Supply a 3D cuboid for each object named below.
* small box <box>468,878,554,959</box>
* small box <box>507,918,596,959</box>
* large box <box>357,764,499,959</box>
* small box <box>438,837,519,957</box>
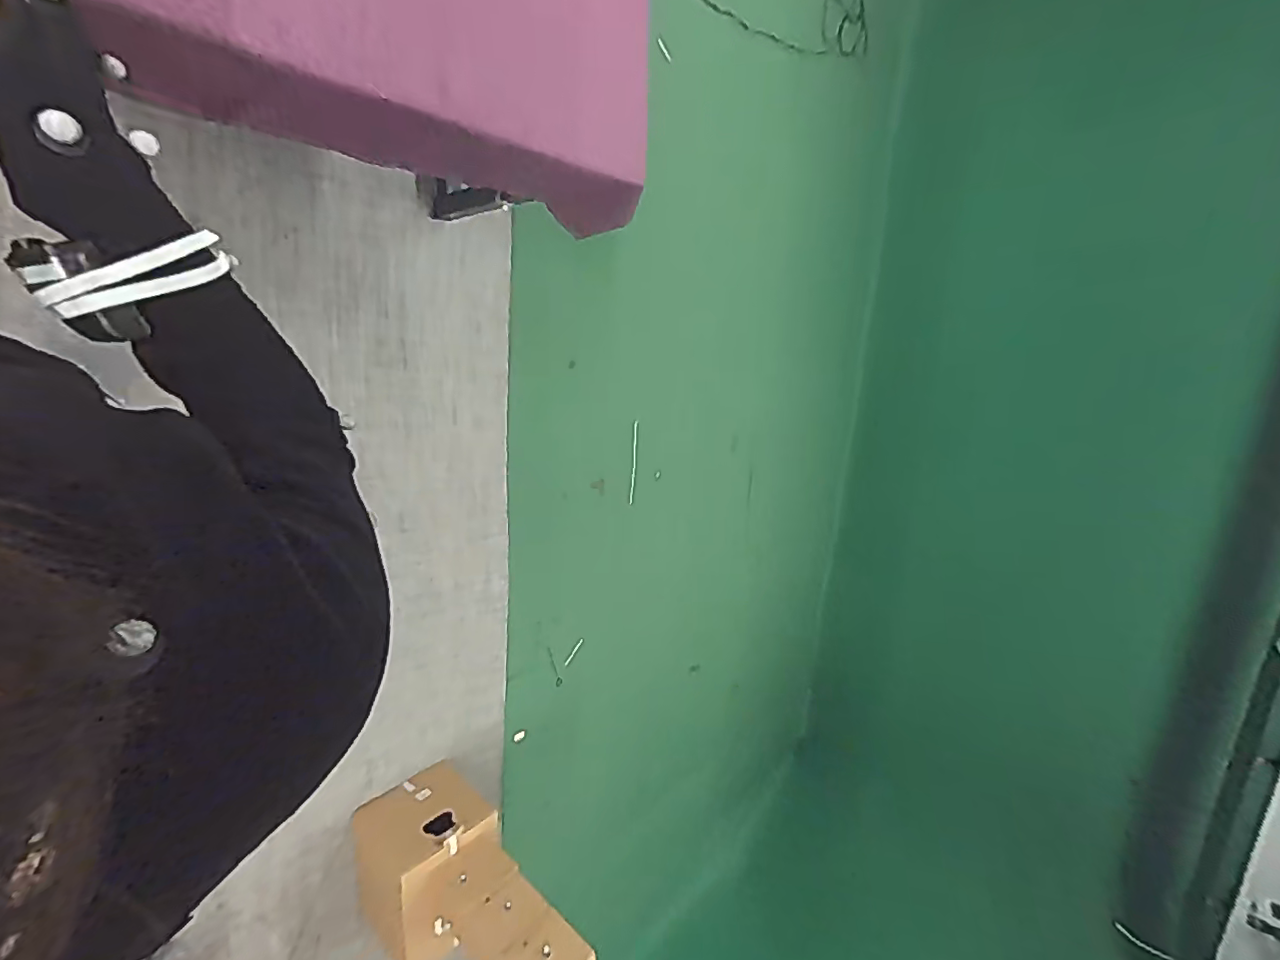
[{"bbox_3d":[-0.348,1.232,1.462,0.168,0.176,0.179,-19,116,-45],"label":"small box"},{"bbox_3d":[-0.224,1.261,1.357,0.168,0.176,0.179,-17,113,-47],"label":"small box"},{"bbox_3d":[-0.668,1.221,1.721,0.320,0.320,0.408,-12,111,-48],"label":"large box"},{"bbox_3d":[-0.470,1.195,1.564,0.179,0.176,0.168,-14,112,-48],"label":"small box"}]
